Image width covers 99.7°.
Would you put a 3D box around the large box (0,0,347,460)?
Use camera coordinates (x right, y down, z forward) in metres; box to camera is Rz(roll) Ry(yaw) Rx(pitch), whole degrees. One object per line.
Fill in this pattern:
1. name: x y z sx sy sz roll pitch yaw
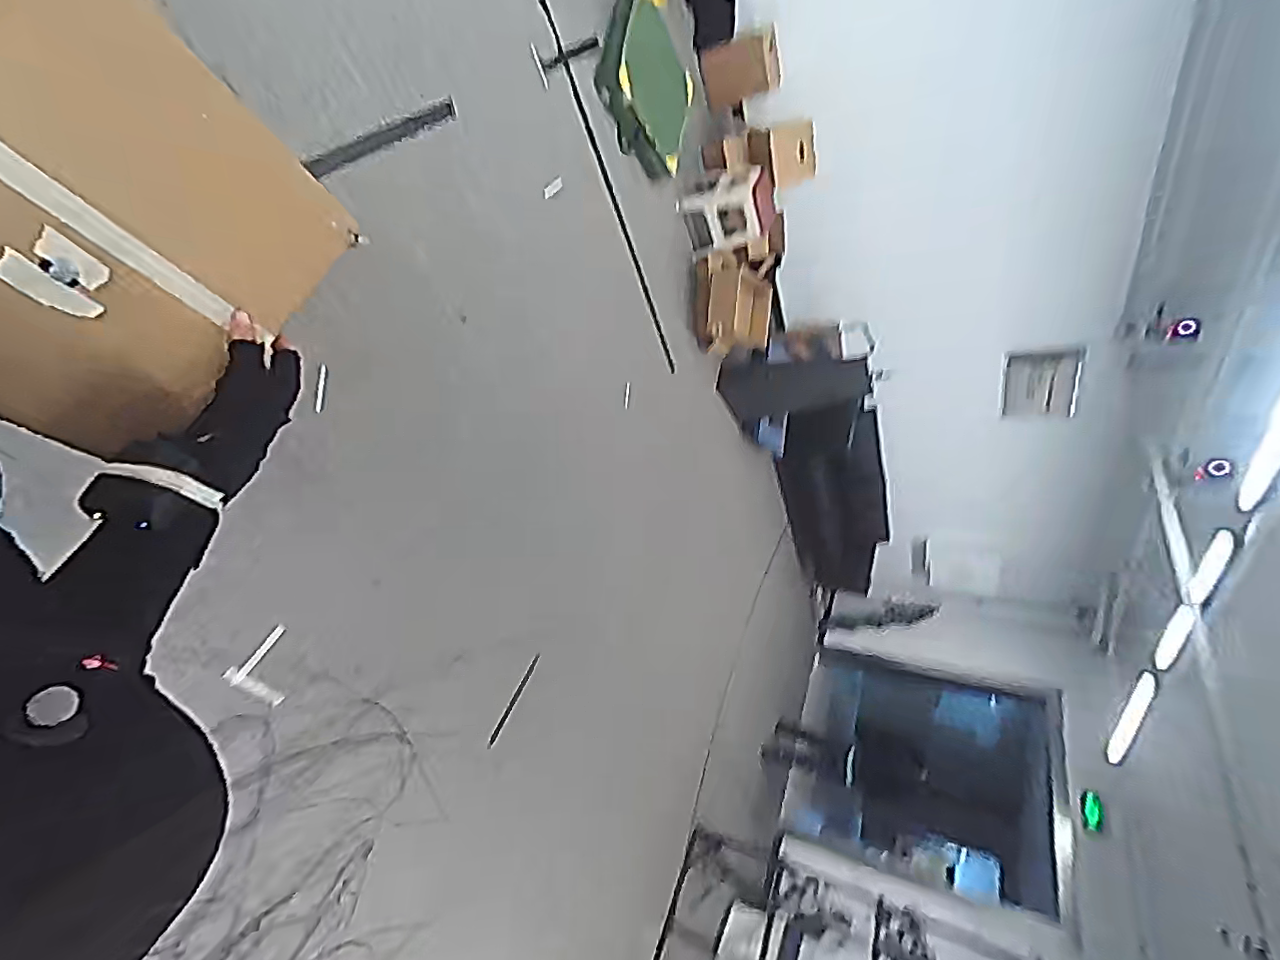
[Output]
1. large box: -0.573 -0.272 0.452 0.320 0.320 0.408 -60 146 -14
